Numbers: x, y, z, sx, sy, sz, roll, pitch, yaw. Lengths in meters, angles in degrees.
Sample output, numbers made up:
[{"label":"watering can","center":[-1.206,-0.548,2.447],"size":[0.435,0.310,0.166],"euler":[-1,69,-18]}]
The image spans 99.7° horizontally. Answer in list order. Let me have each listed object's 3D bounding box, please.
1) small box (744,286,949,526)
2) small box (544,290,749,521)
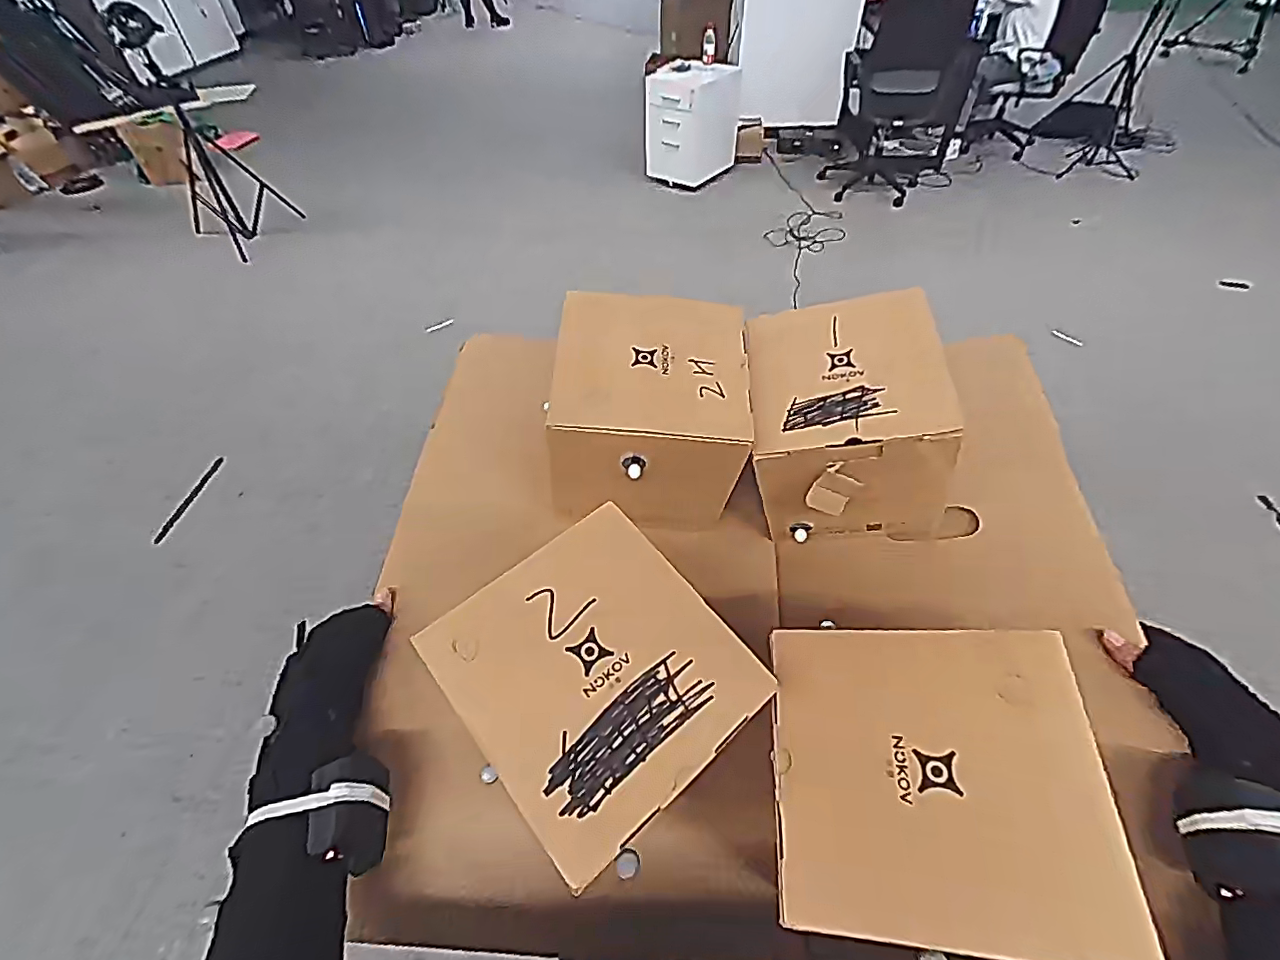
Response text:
[{"label":"small box","center":[0.202,-0.062,0.556],"size":[0.168,0.176,0.179],"euler":[-6,55,18]},{"label":"small box","center":[0.003,-0.068,0.560],"size":[0.179,0.176,0.168],"euler":[5,59,-4]}]
